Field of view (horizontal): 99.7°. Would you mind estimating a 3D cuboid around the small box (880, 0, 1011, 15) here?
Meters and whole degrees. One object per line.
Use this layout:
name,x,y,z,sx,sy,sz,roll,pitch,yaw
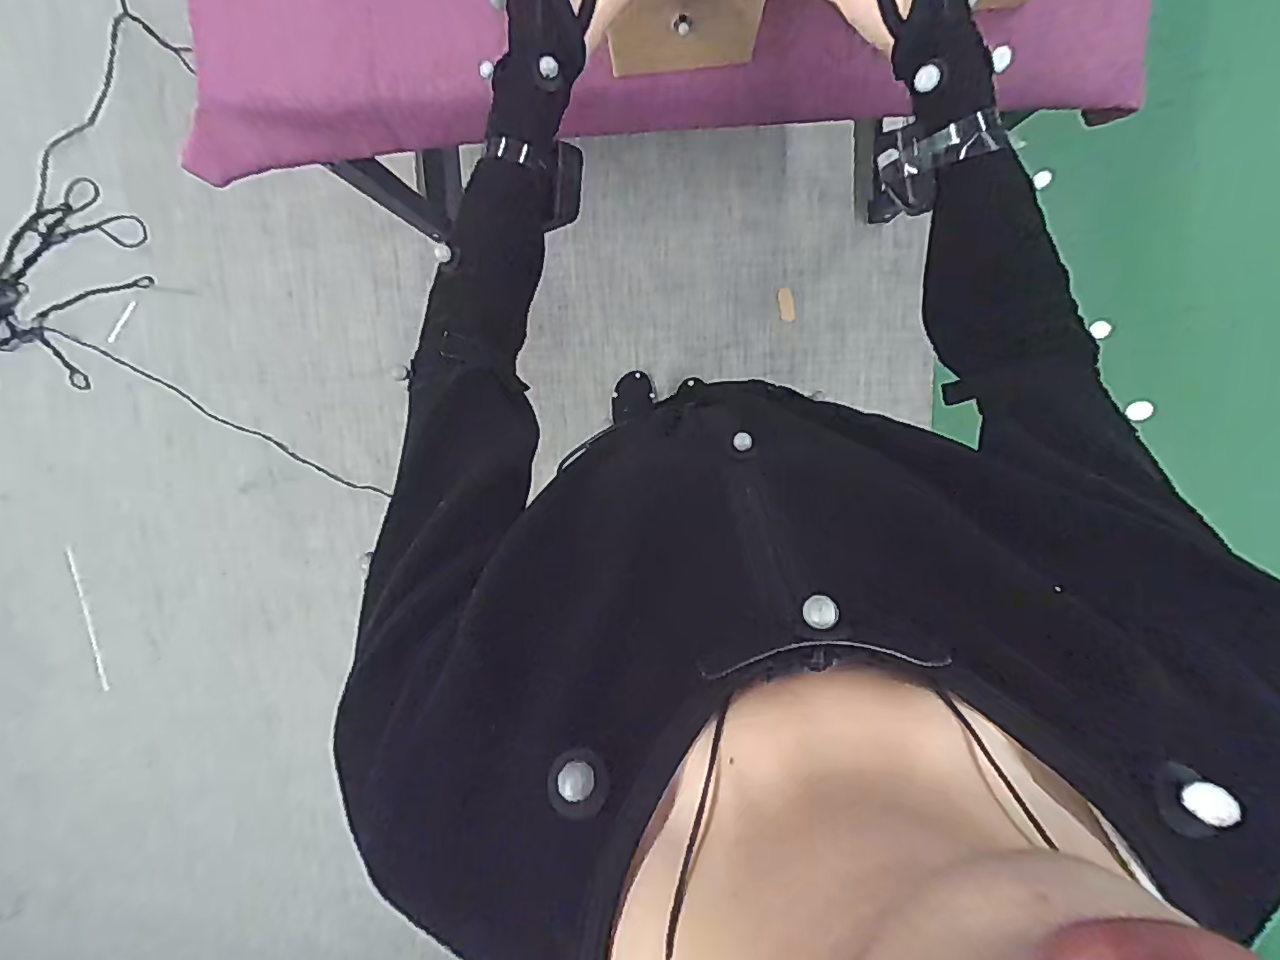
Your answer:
small box,0.377,-0.646,0.575,0.179,0.176,0.168,-3,97,3
